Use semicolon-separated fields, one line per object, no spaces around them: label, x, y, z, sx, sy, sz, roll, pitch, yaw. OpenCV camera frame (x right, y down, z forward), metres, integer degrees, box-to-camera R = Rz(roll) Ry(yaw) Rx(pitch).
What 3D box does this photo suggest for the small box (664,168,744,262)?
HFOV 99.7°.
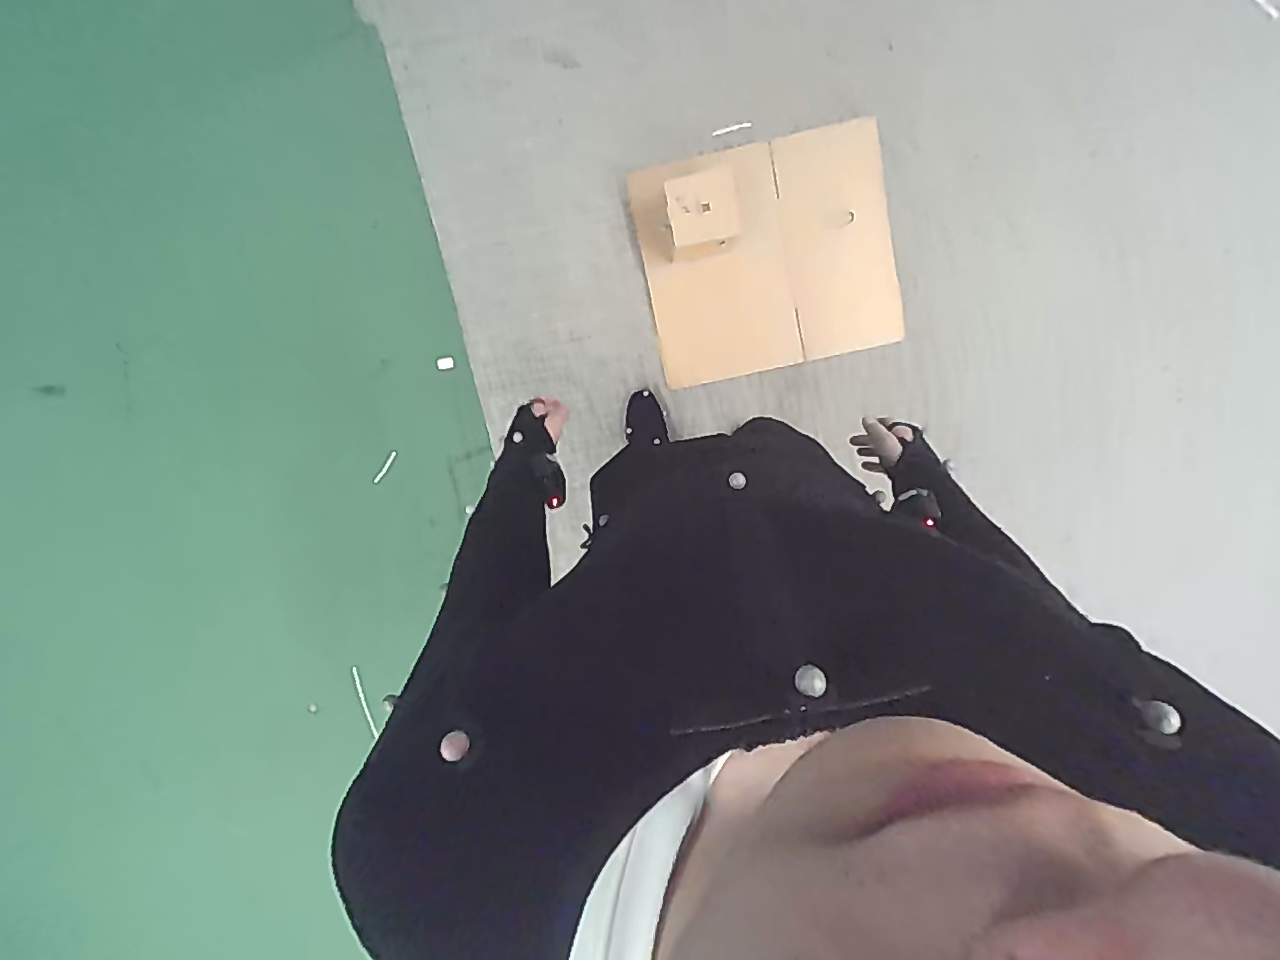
small box;0.163;-0.691;1.427;0.179;0.176;0.168;-10;99;3
